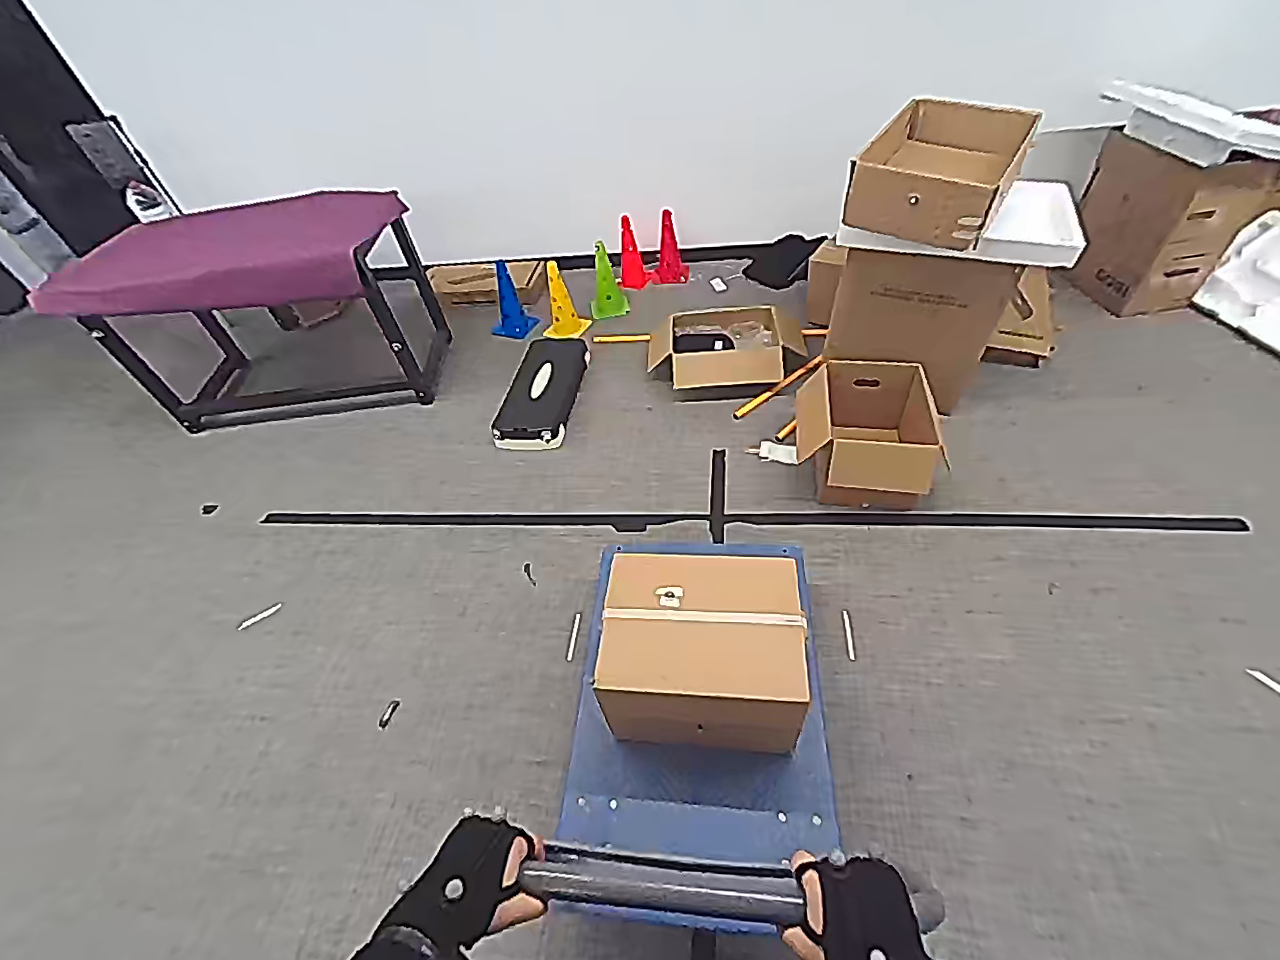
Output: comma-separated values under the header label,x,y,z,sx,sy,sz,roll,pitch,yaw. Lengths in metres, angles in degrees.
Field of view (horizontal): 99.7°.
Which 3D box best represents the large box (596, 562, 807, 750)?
label,x,y,z,sx,sy,sz,roll,pitch,yaw
large box,0.141,0.399,1.223,0.408,0.320,0.320,-1,46,9
